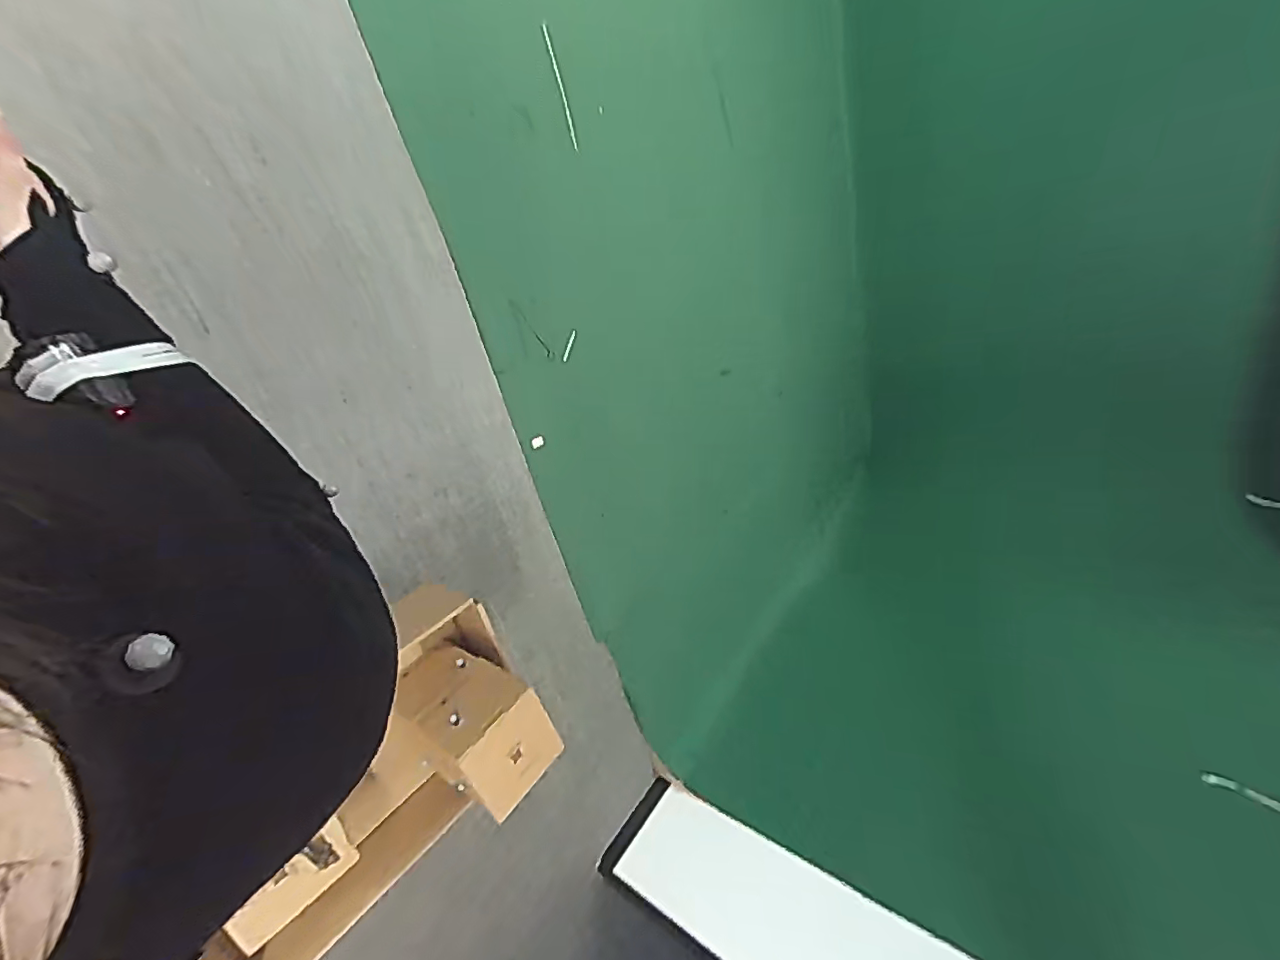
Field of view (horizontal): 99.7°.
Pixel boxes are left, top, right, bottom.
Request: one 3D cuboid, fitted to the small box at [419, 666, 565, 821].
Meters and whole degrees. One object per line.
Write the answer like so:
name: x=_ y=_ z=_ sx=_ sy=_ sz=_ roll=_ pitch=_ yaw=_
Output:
small box: x=-0.274 y=0.471 z=1.000 sx=0.168 sy=0.176 sz=0.179 roll=-40 pitch=125 yaw=-37
